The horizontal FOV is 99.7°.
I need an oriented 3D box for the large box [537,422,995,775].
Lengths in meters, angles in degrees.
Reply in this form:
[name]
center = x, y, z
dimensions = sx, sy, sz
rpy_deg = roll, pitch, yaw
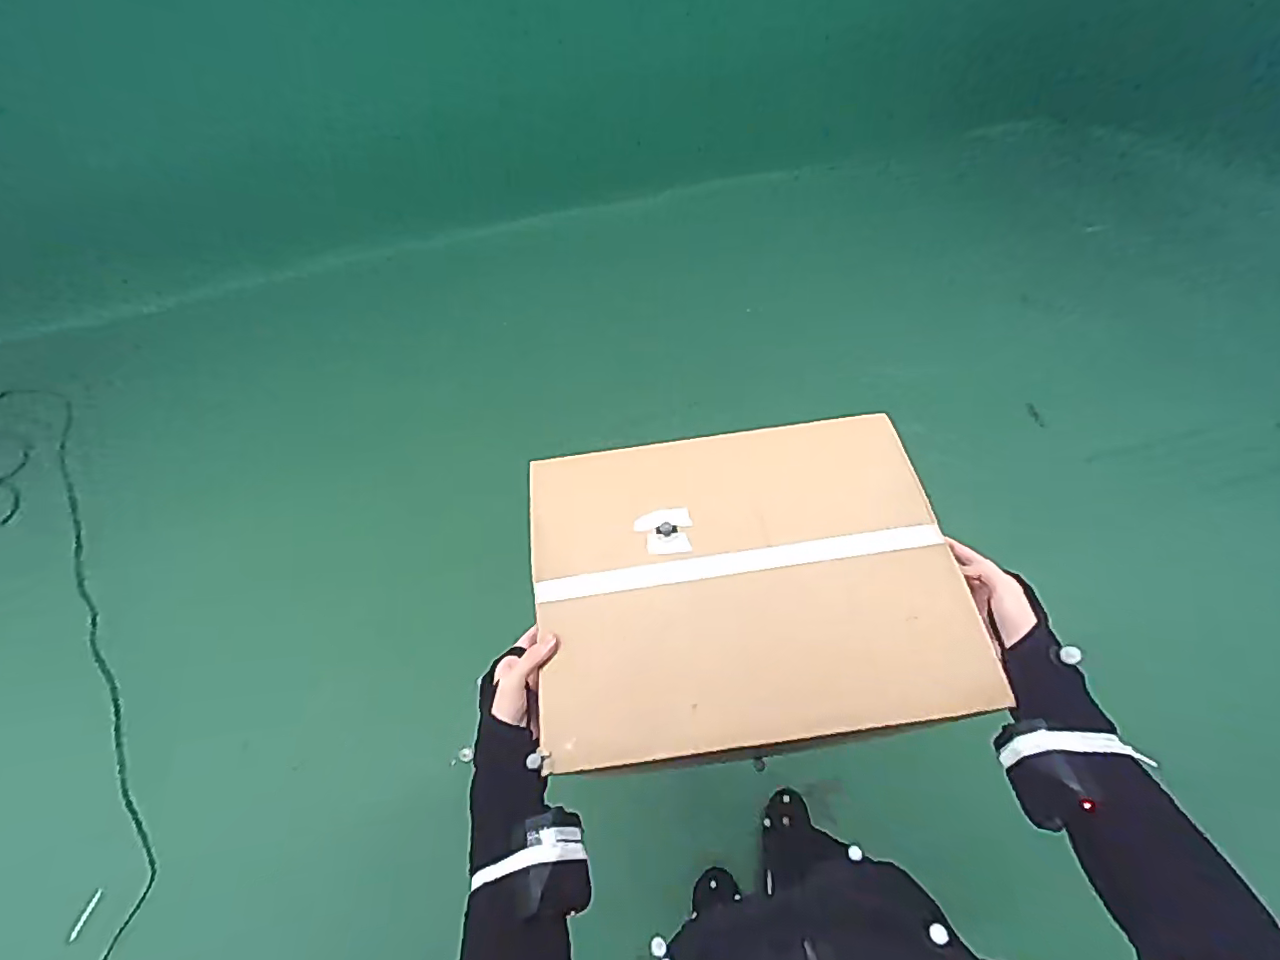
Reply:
[large box]
center = 0.111, 0.166, 0.673
dimensions = 0.408, 0.320, 0.320
rpy_deg = -8, 59, 0
